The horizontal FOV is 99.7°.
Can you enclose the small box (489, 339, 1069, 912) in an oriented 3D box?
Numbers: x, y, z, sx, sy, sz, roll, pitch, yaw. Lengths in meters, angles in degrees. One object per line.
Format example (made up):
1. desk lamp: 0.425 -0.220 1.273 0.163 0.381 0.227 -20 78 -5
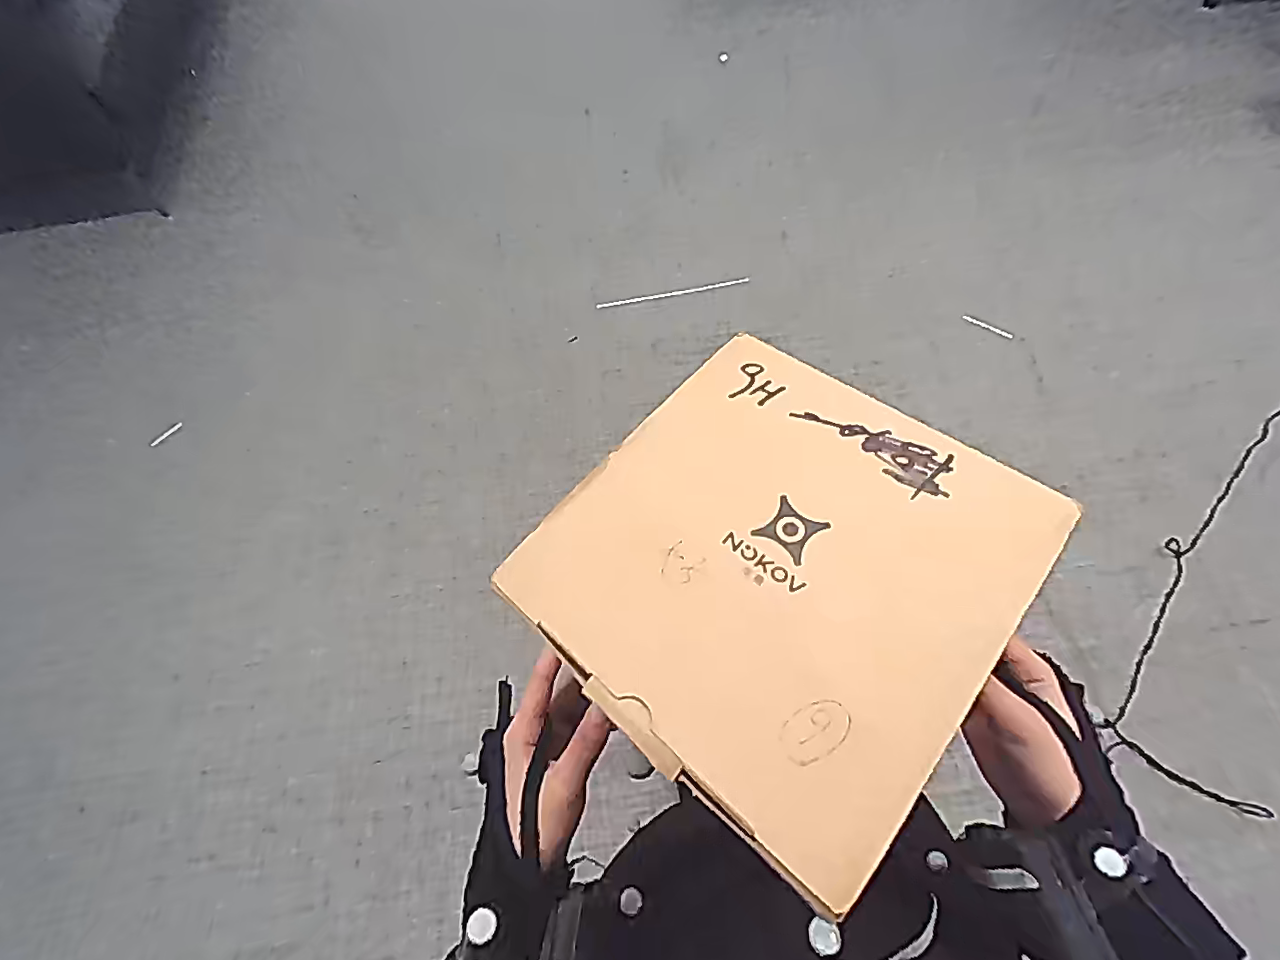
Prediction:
1. small box: 0.062 0.069 0.285 0.168 0.176 0.179 36 71 26
